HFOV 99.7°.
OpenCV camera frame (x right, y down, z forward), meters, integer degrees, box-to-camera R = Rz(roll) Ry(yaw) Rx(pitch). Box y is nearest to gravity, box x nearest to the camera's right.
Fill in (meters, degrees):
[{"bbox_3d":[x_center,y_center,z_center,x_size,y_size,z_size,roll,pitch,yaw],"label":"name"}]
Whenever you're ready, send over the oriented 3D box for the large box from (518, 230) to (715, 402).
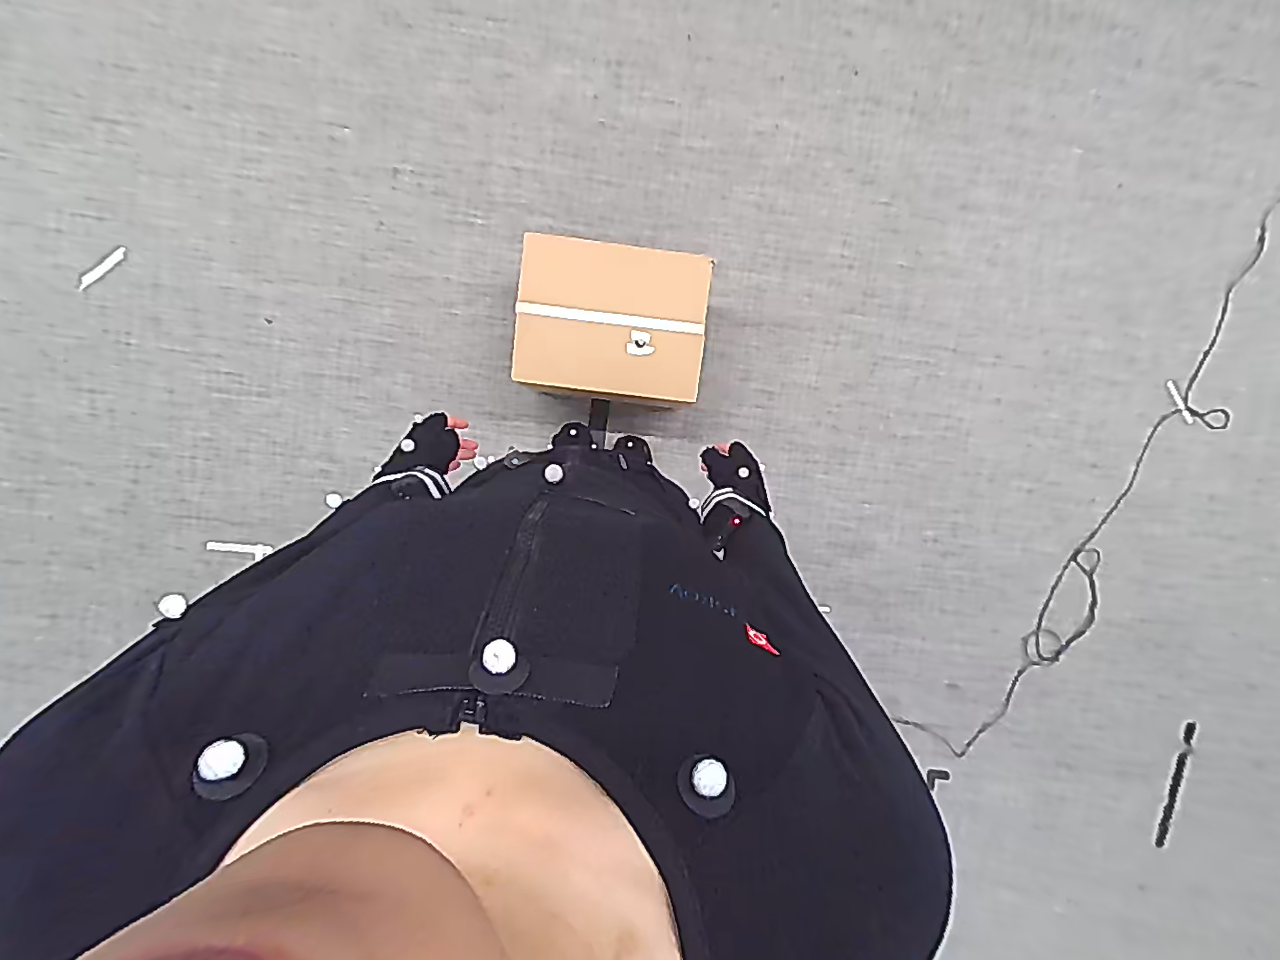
[{"bbox_3d":[-0.061,-0.367,1.298,0.408,0.320,0.320,6,96,-4],"label":"large box"}]
